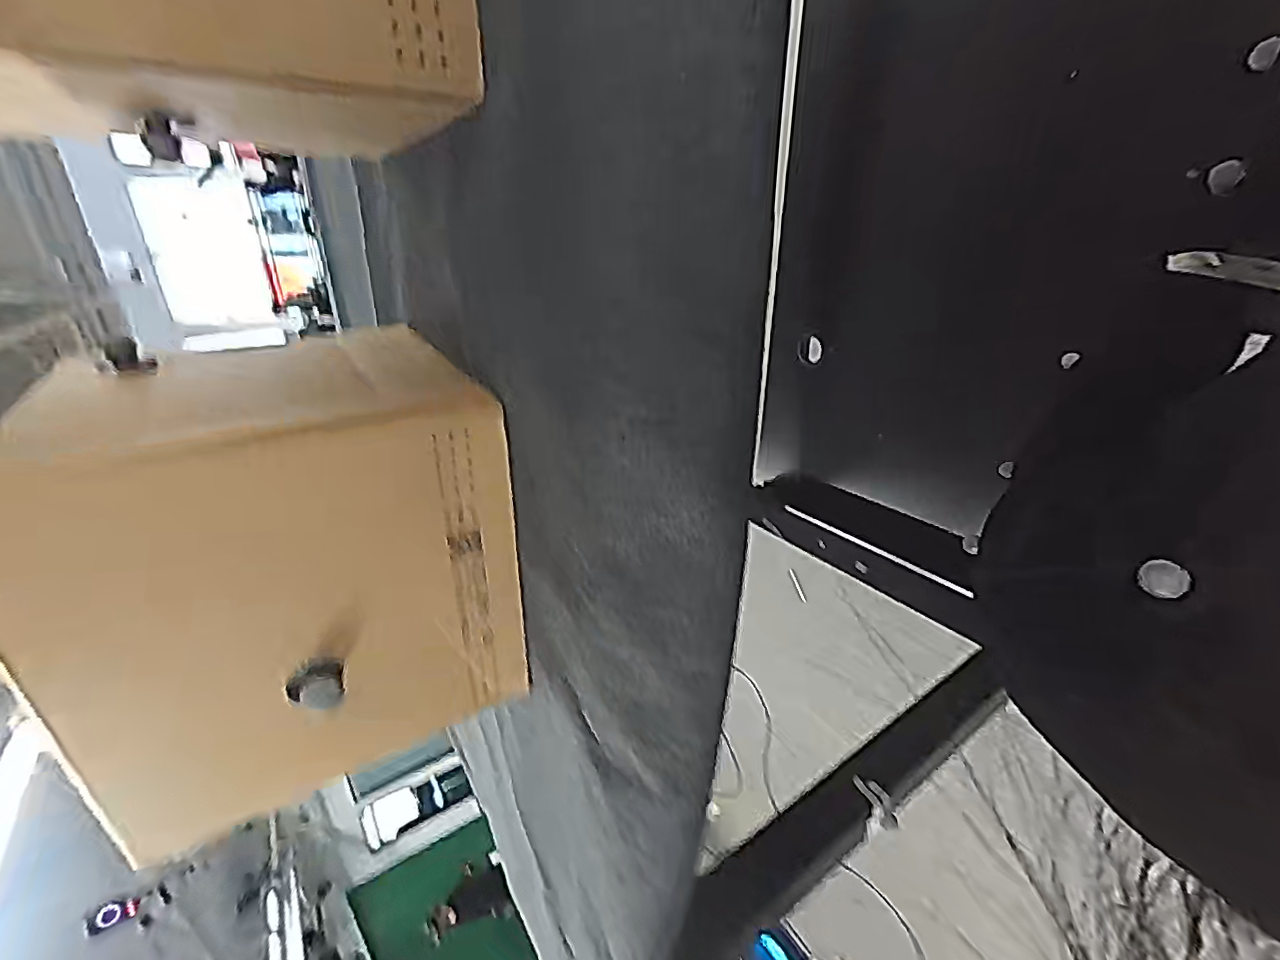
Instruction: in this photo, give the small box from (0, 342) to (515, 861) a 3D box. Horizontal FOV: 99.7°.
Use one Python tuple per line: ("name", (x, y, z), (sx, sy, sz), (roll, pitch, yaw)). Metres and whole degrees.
("small box", (-0.171, 0.030, 0.281), (0.179, 0.176, 0.168), (35, 132, 48))
